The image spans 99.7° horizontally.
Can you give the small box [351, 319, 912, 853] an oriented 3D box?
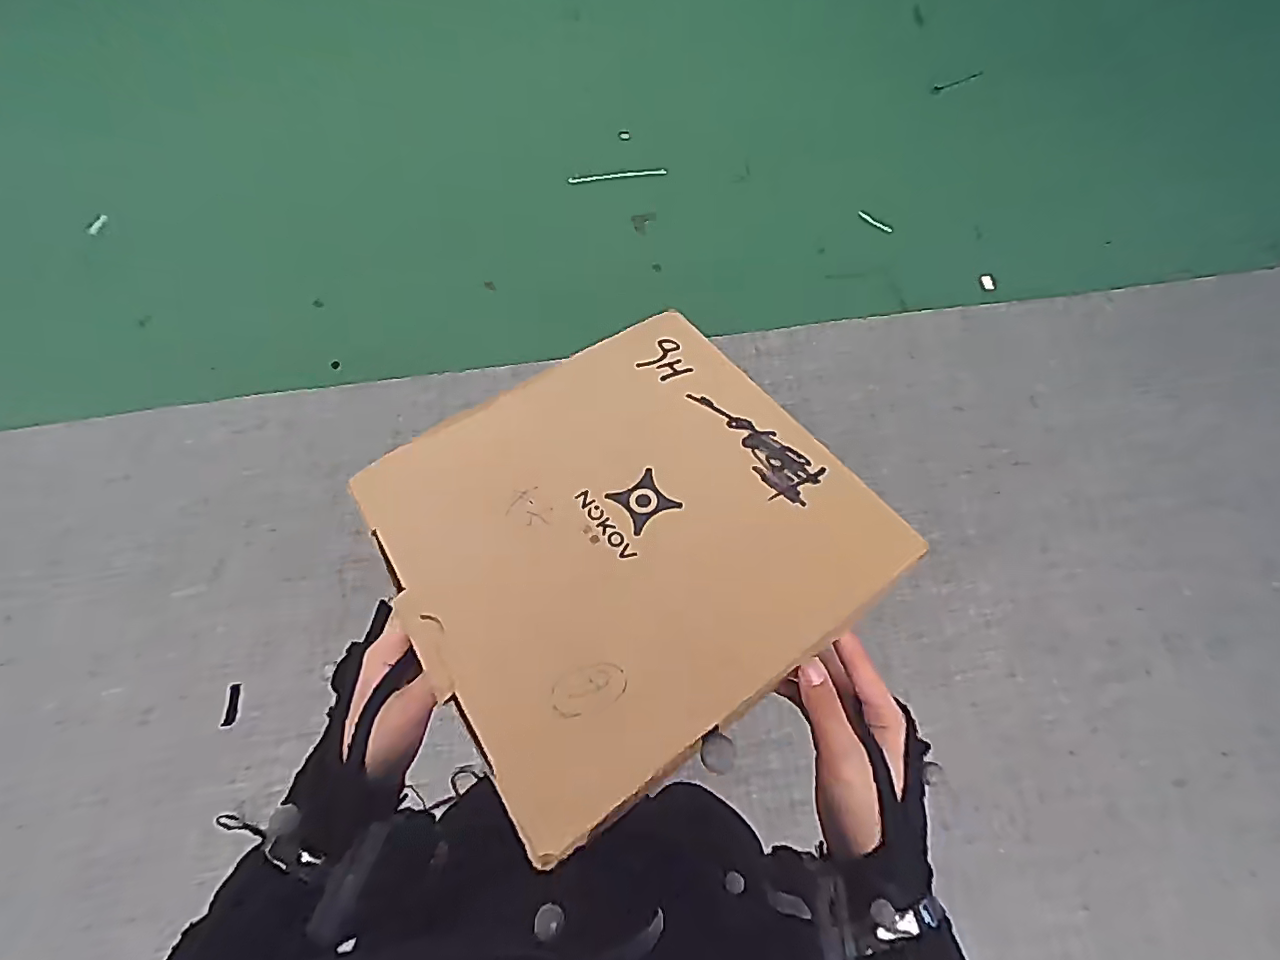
[{"bbox_3d":[-0.006,0.057,0.286,0.179,0.176,0.168,-31,63,-16],"label":"small box"}]
